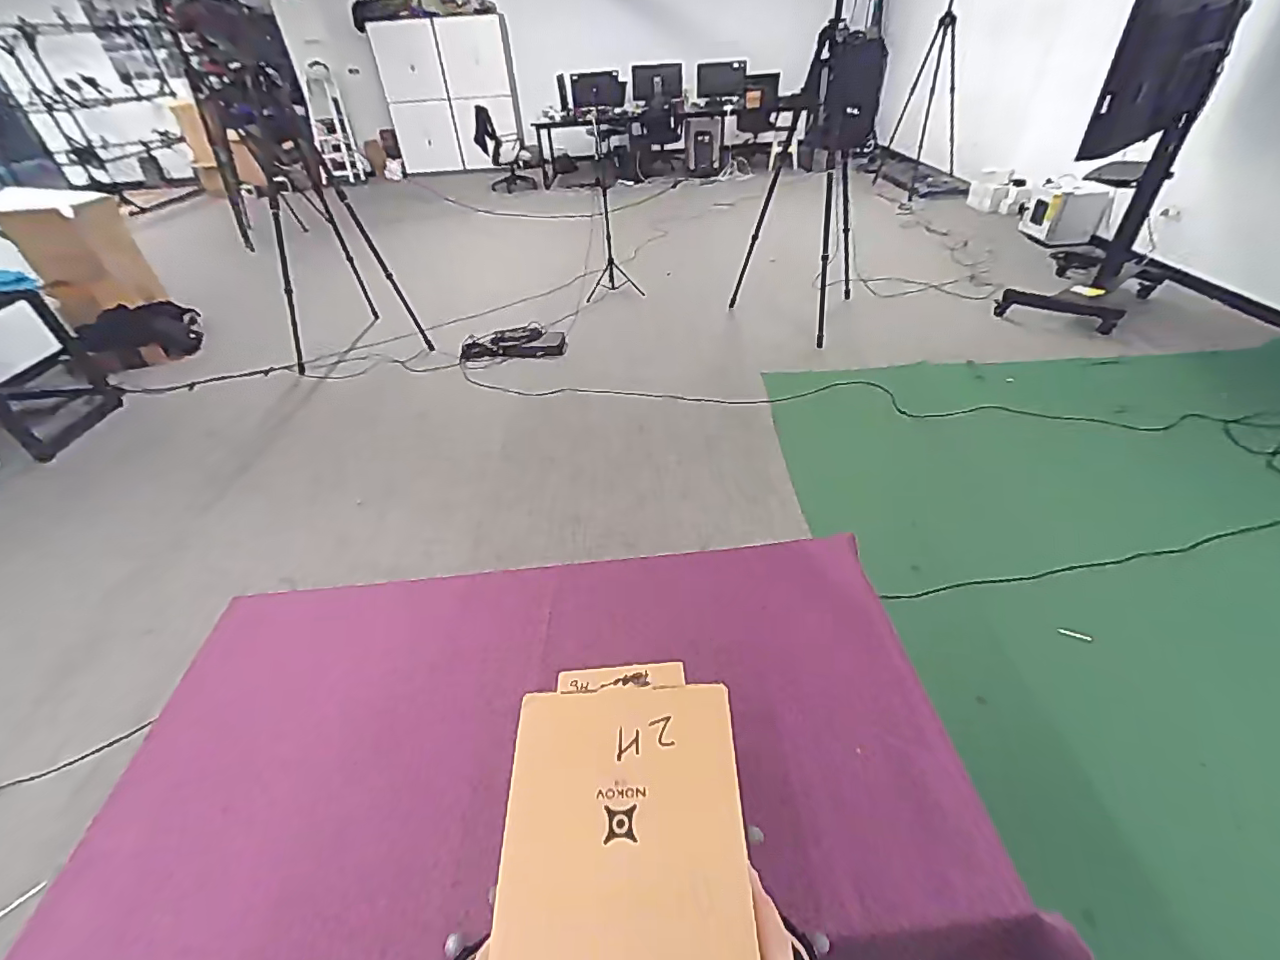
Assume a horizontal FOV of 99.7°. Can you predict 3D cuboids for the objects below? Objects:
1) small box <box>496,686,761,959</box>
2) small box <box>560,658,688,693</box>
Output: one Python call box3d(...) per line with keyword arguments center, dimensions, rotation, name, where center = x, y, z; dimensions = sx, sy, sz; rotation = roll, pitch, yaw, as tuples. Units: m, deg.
box3d(center=(0.001, 0.286, 0.435), dimensions=(0.168, 0.176, 0.179), rotation=(-4, 46, 3), name="small box")
box3d(center=(-0.013, 0.357, 0.698), dimensions=(0.168, 0.176, 0.179), rotation=(-4, 41, 0), name="small box")
